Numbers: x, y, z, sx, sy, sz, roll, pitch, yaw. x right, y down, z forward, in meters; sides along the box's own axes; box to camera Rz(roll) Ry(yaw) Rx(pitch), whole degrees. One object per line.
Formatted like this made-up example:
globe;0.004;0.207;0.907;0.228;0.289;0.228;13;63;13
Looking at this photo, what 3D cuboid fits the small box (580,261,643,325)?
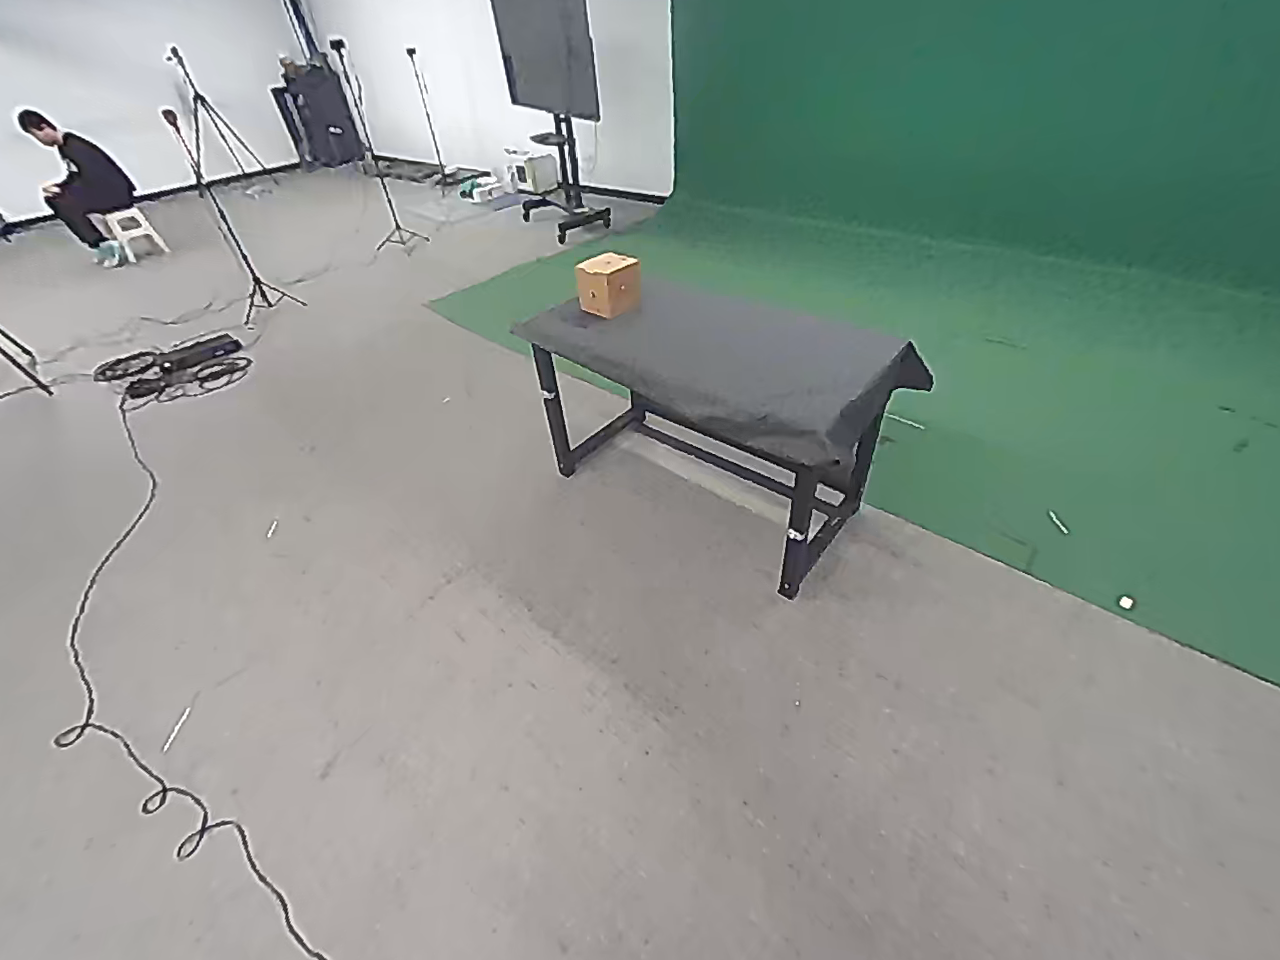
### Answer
small box;-0.101;-0.708;2.047;0.168;0.176;0.179;29;51;33
